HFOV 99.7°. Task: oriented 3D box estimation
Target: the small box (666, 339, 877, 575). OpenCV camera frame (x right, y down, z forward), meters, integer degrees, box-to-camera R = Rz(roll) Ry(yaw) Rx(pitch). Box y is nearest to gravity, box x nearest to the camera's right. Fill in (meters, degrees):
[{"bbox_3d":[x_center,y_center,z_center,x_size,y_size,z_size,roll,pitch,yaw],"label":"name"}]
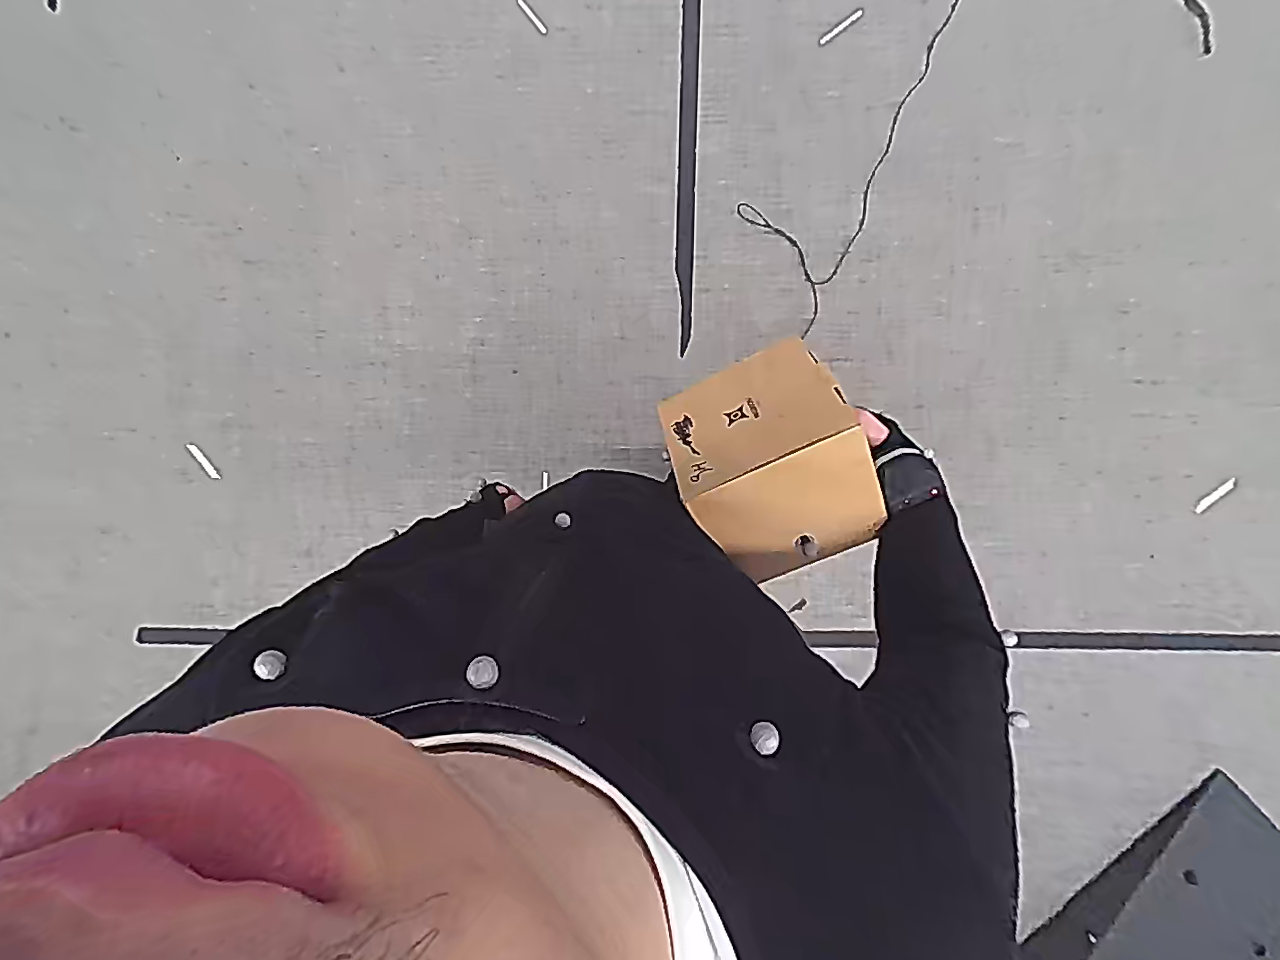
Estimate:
[{"bbox_3d":[0.151,-0.022,0.617,0.179,0.168,0.176,-24,129,12],"label":"small box"}]
